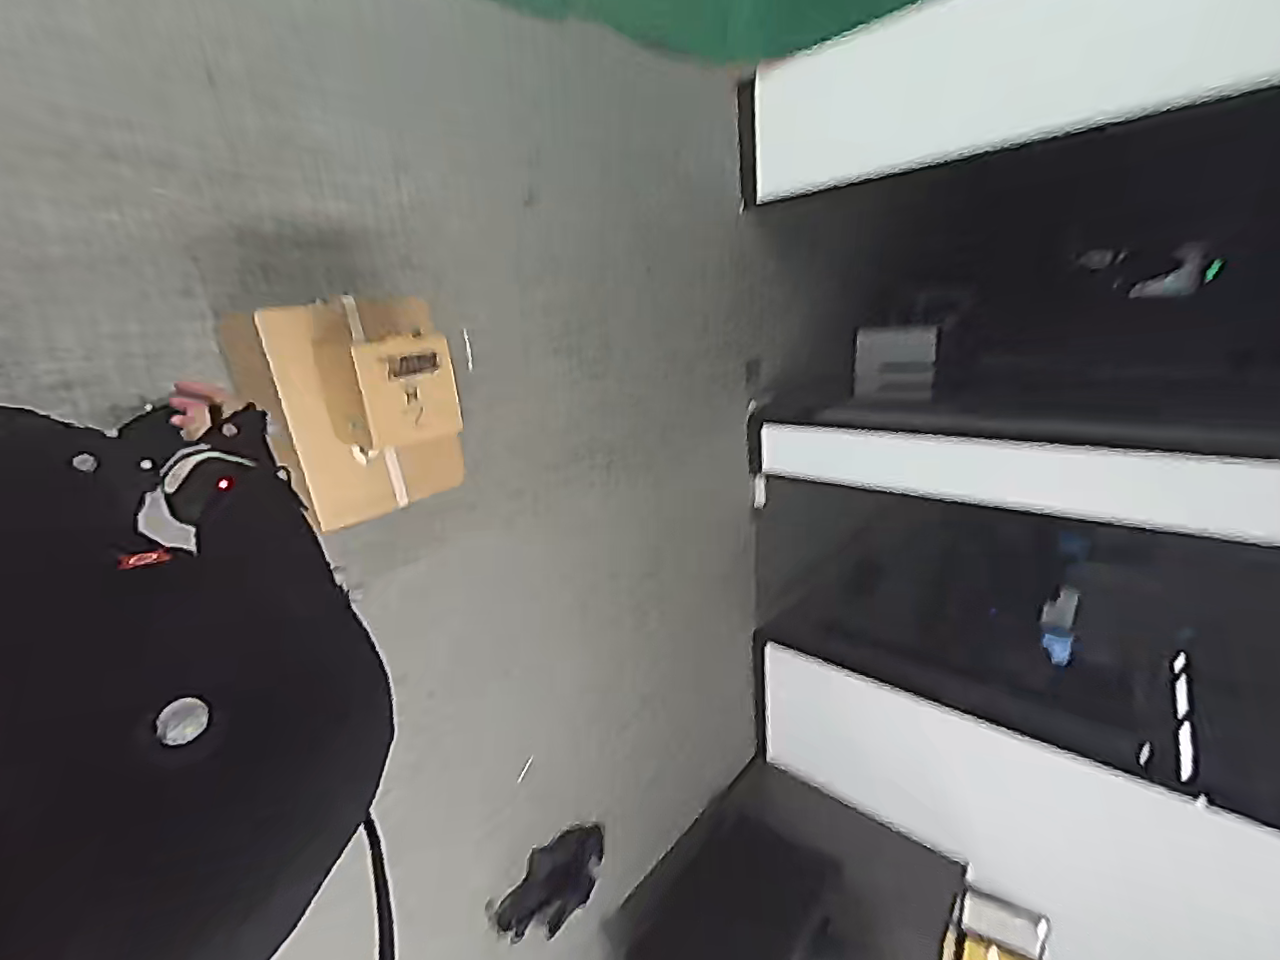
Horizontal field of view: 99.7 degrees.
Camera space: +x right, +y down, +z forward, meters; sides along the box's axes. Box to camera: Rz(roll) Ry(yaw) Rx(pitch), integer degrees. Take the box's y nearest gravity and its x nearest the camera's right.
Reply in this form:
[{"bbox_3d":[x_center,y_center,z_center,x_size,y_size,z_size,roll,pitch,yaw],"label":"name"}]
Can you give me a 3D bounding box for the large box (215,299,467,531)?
[{"bbox_3d":[-0.623,-0.156,1.152,0.320,0.320,0.408,-24,117,-43],"label":"large box"}]
